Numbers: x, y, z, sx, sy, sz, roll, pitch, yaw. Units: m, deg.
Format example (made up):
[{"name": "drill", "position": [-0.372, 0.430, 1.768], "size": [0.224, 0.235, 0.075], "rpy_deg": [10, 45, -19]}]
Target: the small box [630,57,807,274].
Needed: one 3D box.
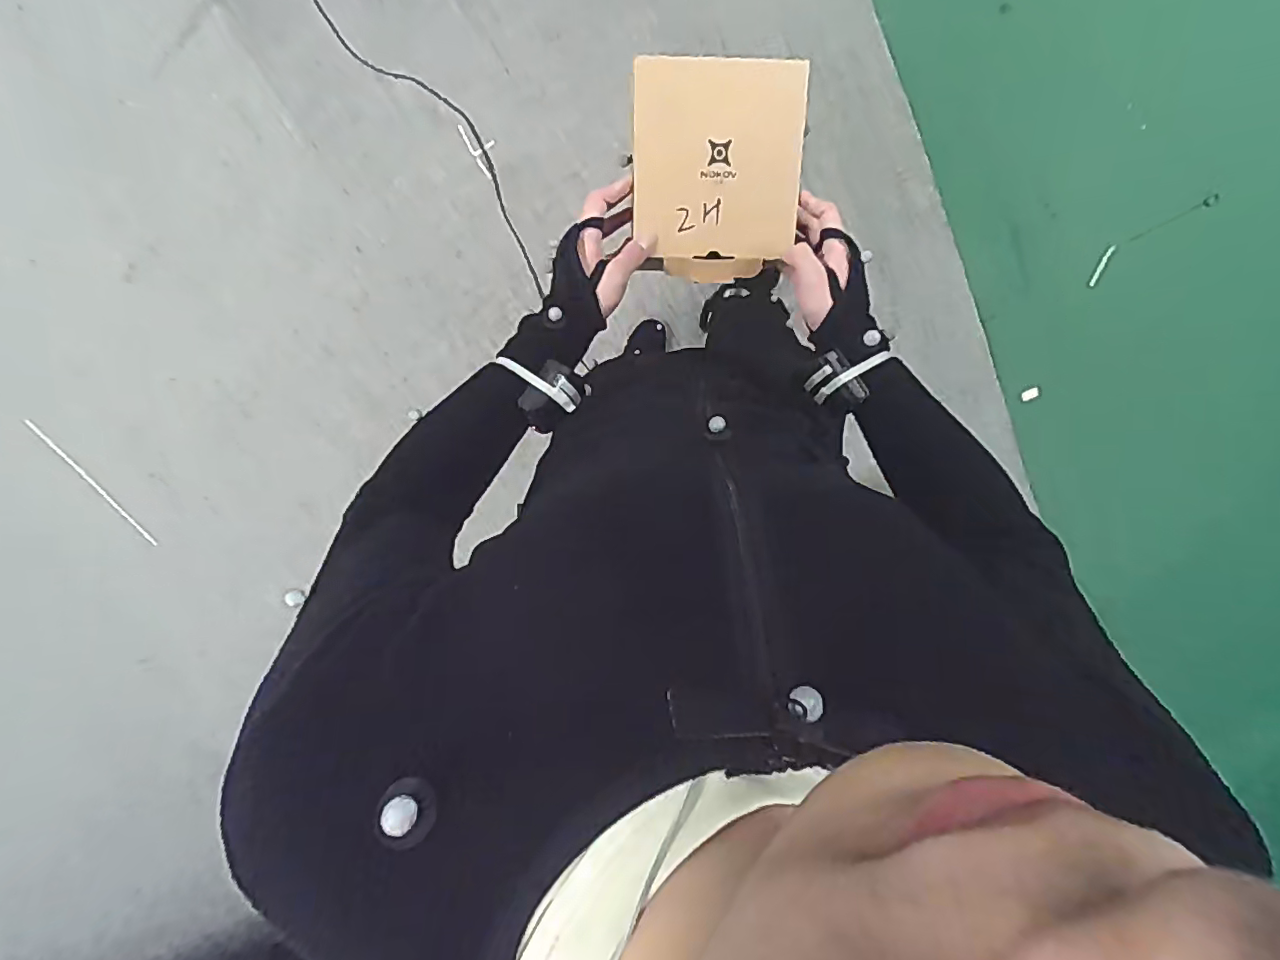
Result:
[{"name": "small box", "position": [0.073, -0.332, 0.605], "size": [0.168, 0.176, 0.179], "rpy_deg": [-1, 107, -2]}]
